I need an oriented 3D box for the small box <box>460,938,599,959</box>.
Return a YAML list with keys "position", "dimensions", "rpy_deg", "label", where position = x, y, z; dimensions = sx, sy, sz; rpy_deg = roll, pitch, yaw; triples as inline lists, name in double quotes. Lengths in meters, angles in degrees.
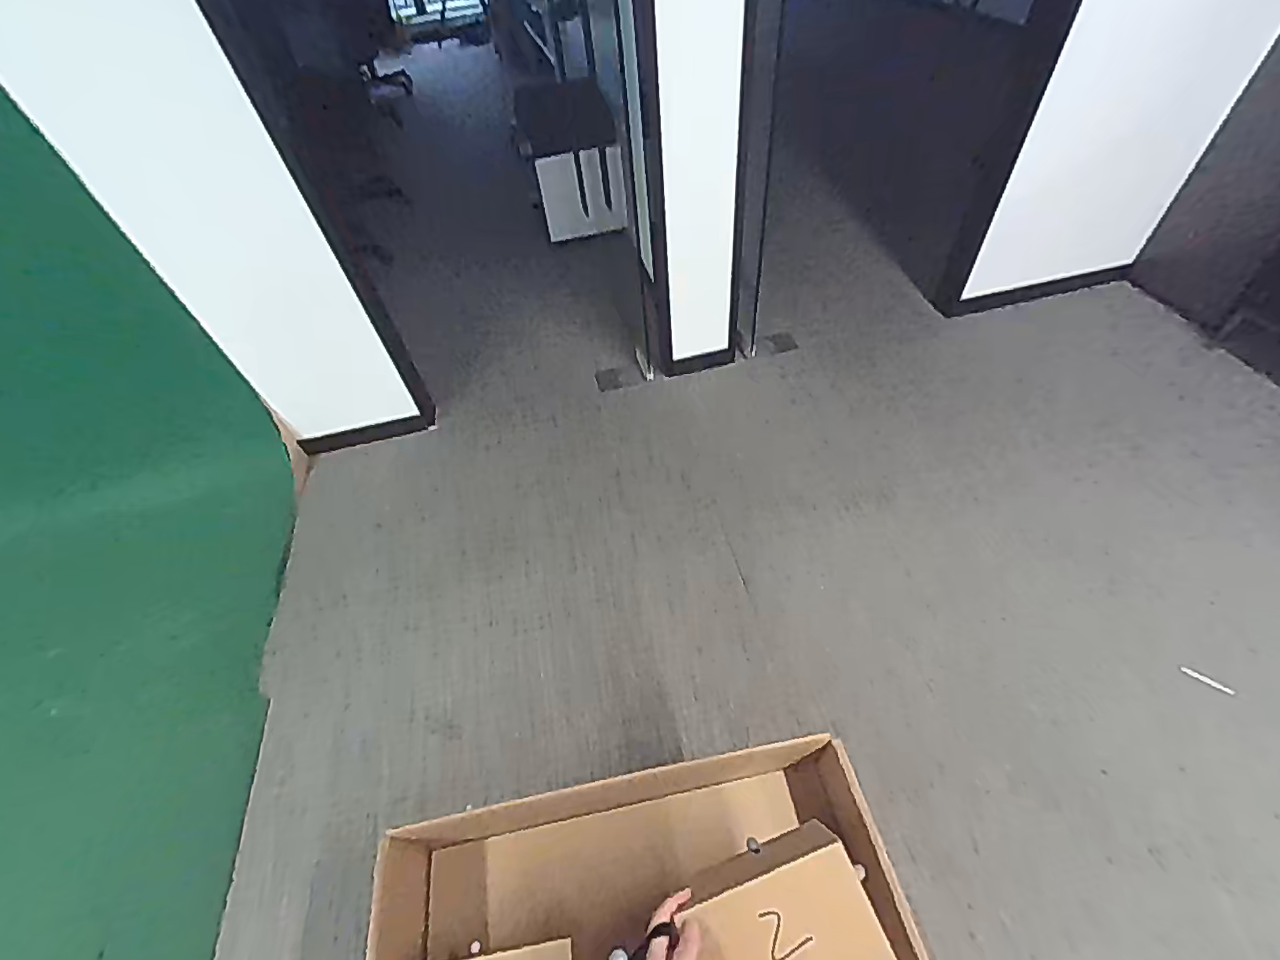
- position: [-0.139, 0.630, 0.599]
  dimensions: [0.179, 0.176, 0.168]
  rpy_deg: [-10, 50, -2]
  label: "small box"
